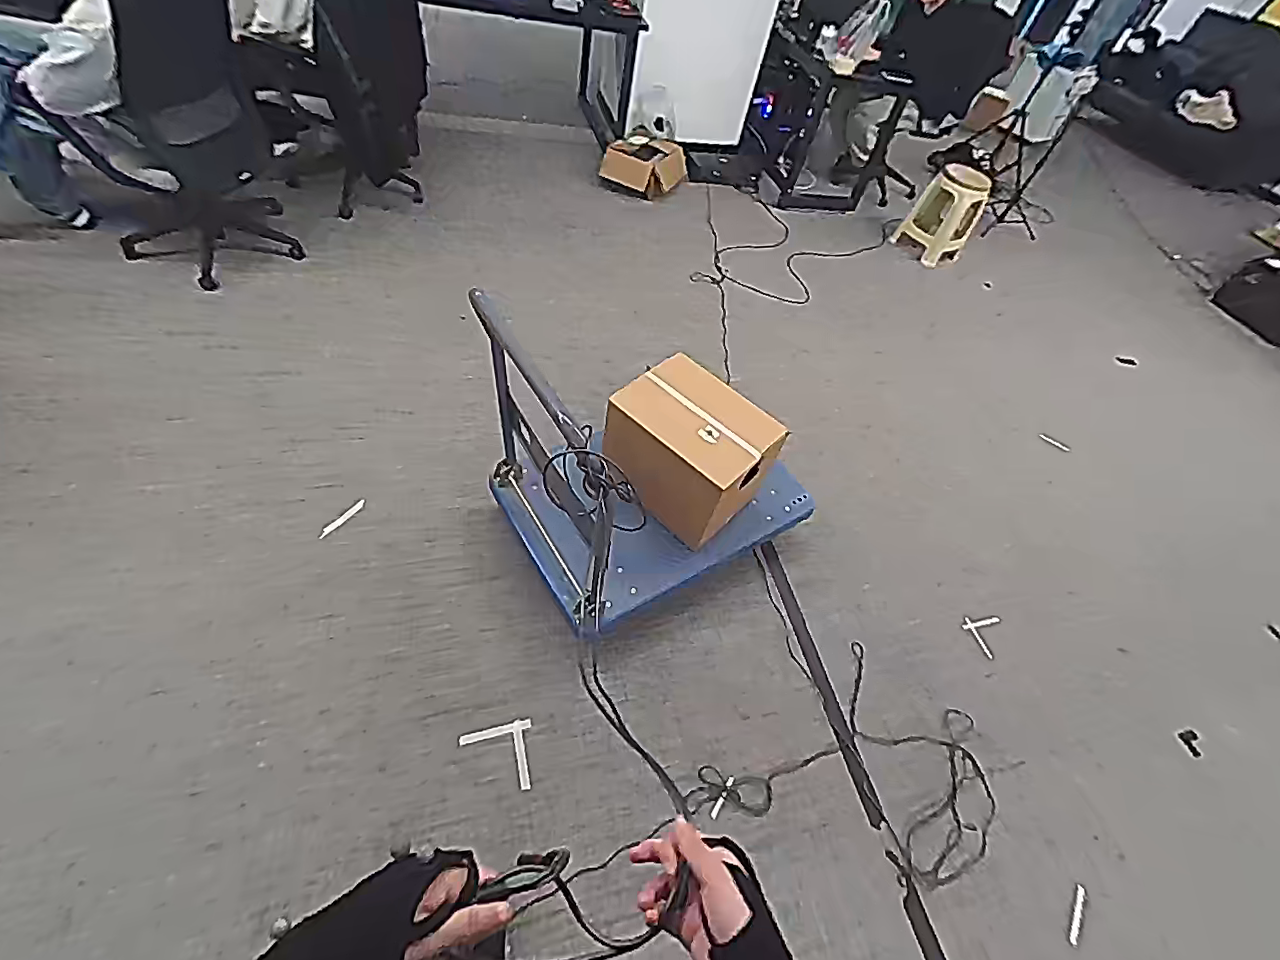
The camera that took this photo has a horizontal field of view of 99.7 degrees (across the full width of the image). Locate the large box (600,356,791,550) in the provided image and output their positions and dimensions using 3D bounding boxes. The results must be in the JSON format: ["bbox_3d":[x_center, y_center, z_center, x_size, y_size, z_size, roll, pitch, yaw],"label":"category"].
[{"bbox_3d":[0.142,-0.081,1.566,0.408,0.320,0.320,41,57,18],"label":"large box"}]
